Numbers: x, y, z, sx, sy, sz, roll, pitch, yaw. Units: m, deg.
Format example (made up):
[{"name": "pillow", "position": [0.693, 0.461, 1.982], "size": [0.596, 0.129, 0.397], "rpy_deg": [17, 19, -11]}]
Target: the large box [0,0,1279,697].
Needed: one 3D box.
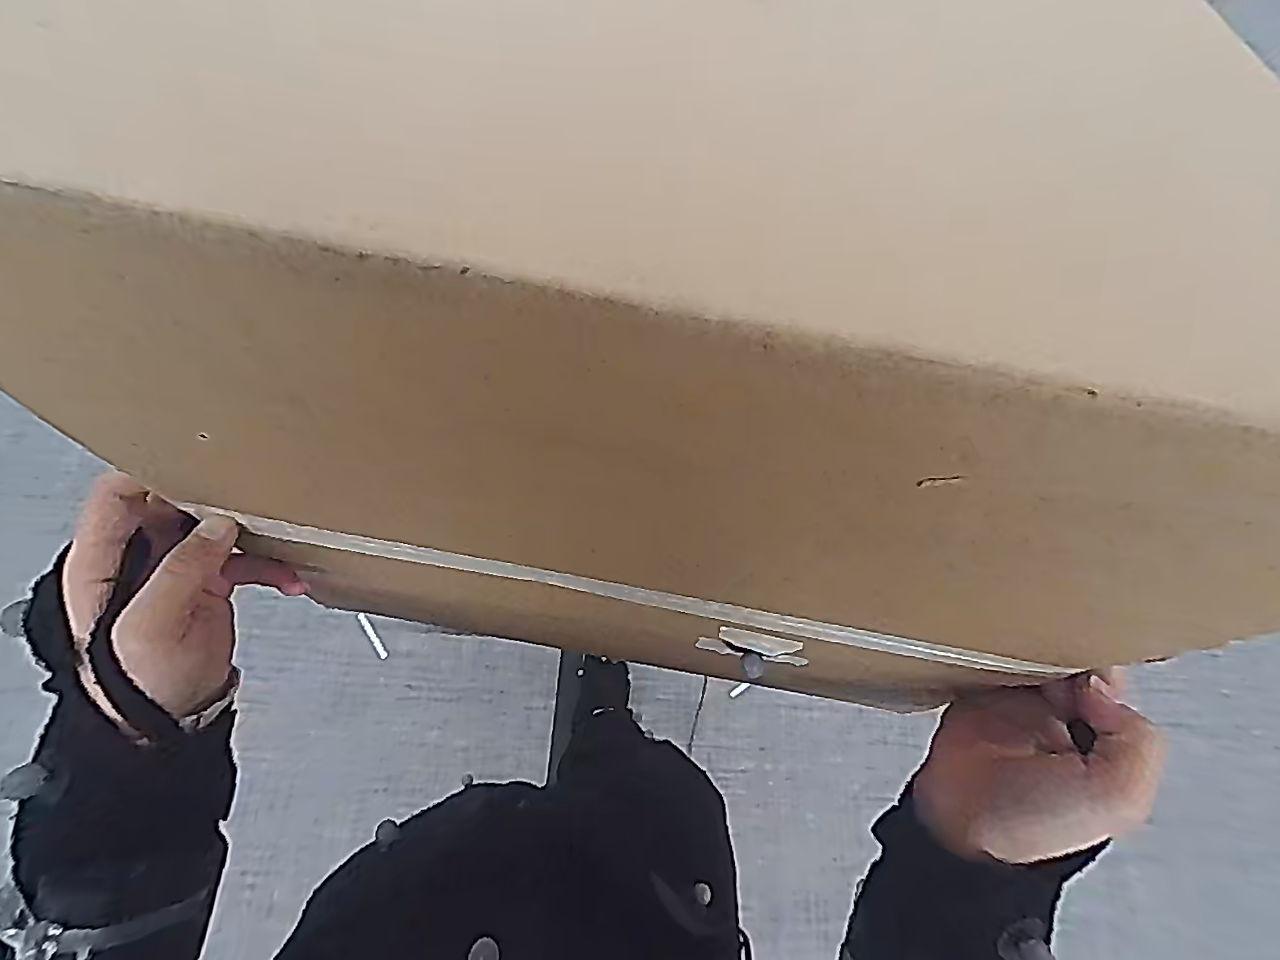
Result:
[{"name": "large box", "position": [0.021, -0.085, 0.323], "size": [0.408, 0.320, 0.320], "rpy_deg": [10, 61, -1]}]
